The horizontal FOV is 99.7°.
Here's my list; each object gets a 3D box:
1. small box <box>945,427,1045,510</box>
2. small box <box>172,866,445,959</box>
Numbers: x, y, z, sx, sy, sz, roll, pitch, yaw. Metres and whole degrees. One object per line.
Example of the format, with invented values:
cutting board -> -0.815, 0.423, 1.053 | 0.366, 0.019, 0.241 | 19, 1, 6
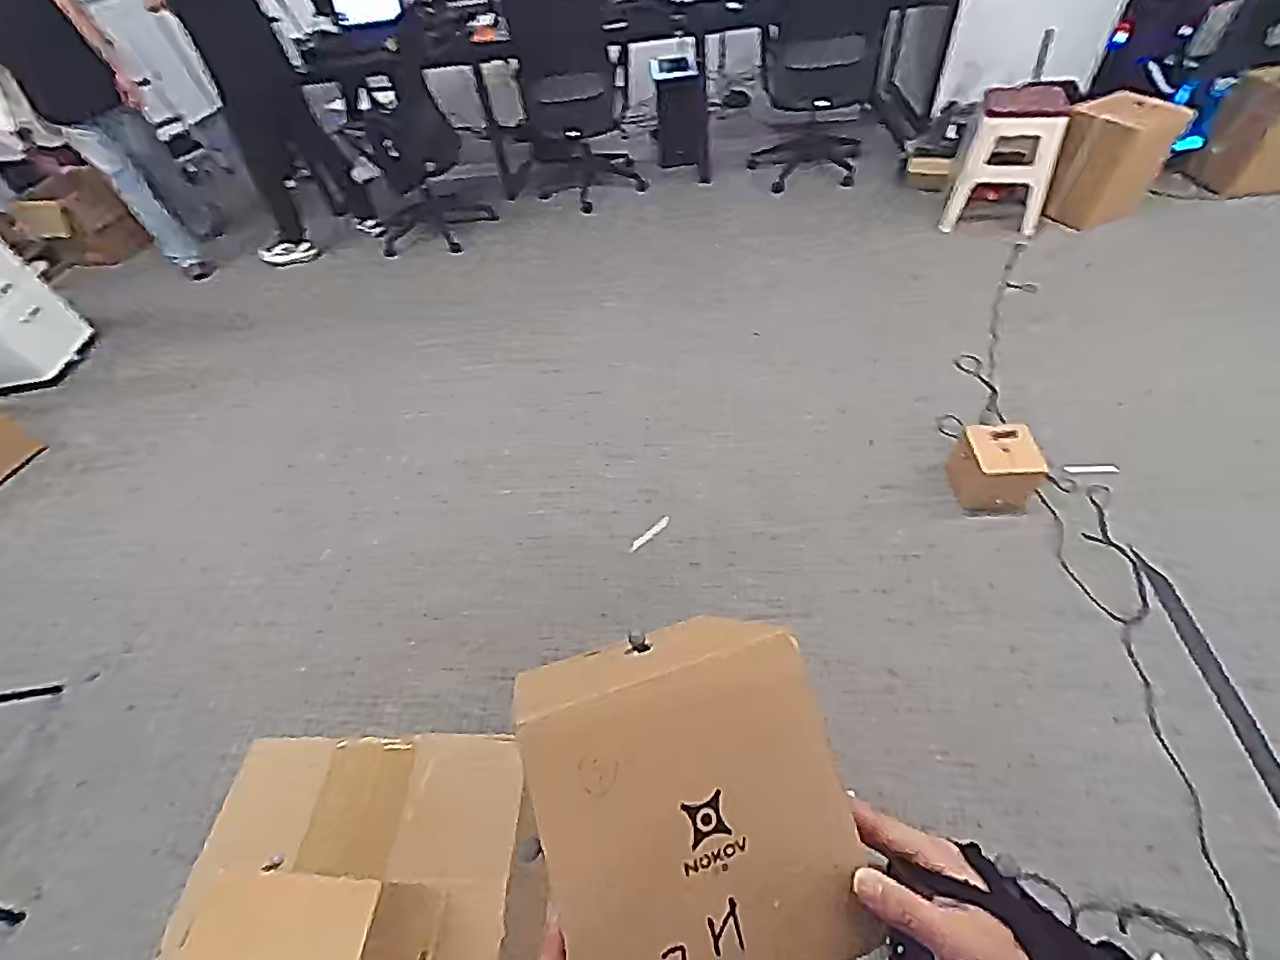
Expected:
small box -> 1.009, -0.033, 1.558 | 0.168, 0.176, 0.179 | -2, 51, 7
small box -> -0.312, 0.476, 0.511 | 0.179, 0.176, 0.168 | -2, 51, 7
